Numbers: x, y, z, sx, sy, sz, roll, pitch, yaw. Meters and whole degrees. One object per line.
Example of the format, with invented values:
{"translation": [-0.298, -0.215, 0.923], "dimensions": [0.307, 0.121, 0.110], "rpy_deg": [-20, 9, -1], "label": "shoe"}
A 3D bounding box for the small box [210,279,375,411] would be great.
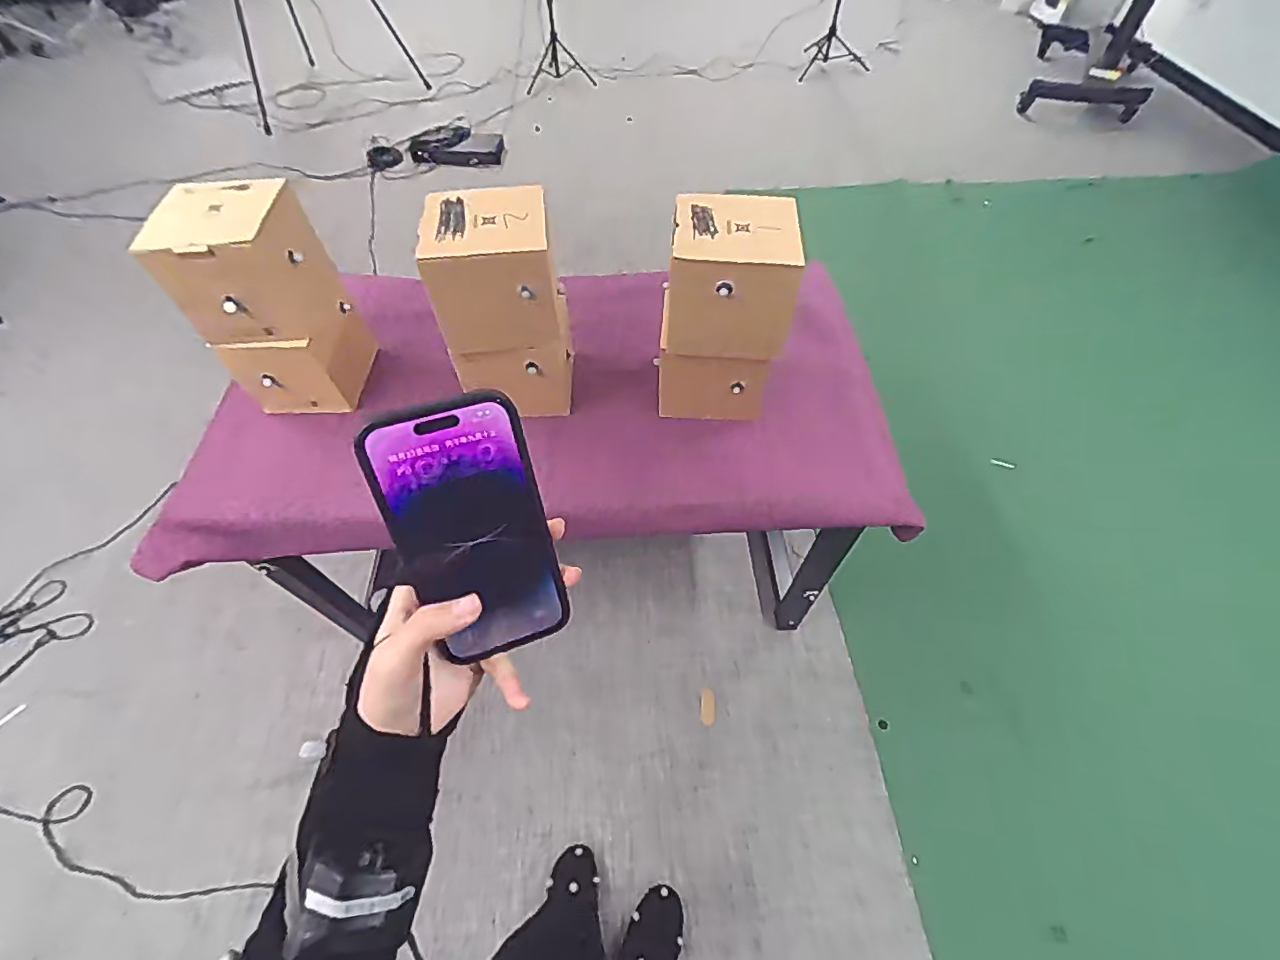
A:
{"translation": [-0.609, -0.239, 0.979], "dimensions": [0.168, 0.176, 0.179], "rpy_deg": [0, 56, 0], "label": "small box"}

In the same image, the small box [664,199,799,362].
{"translation": [0.129, -0.295, 0.814], "dimensions": [0.179, 0.176, 0.168], "rpy_deg": [5, 56, 3], "label": "small box"}

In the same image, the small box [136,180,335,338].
{"translation": [-0.611, -0.338, 0.847], "dimensions": [0.168, 0.176, 0.179], "rpy_deg": [-4, 57, -3], "label": "small box"}

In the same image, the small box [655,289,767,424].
{"translation": [0.122, -0.216, 0.958], "dimensions": [0.179, 0.176, 0.168], "rpy_deg": [4, 56, 4], "label": "small box"}

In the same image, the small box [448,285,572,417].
{"translation": [-0.218, -0.225, 0.965], "dimensions": [0.179, 0.176, 0.168], "rpy_deg": [-1, 56, 0], "label": "small box"}
